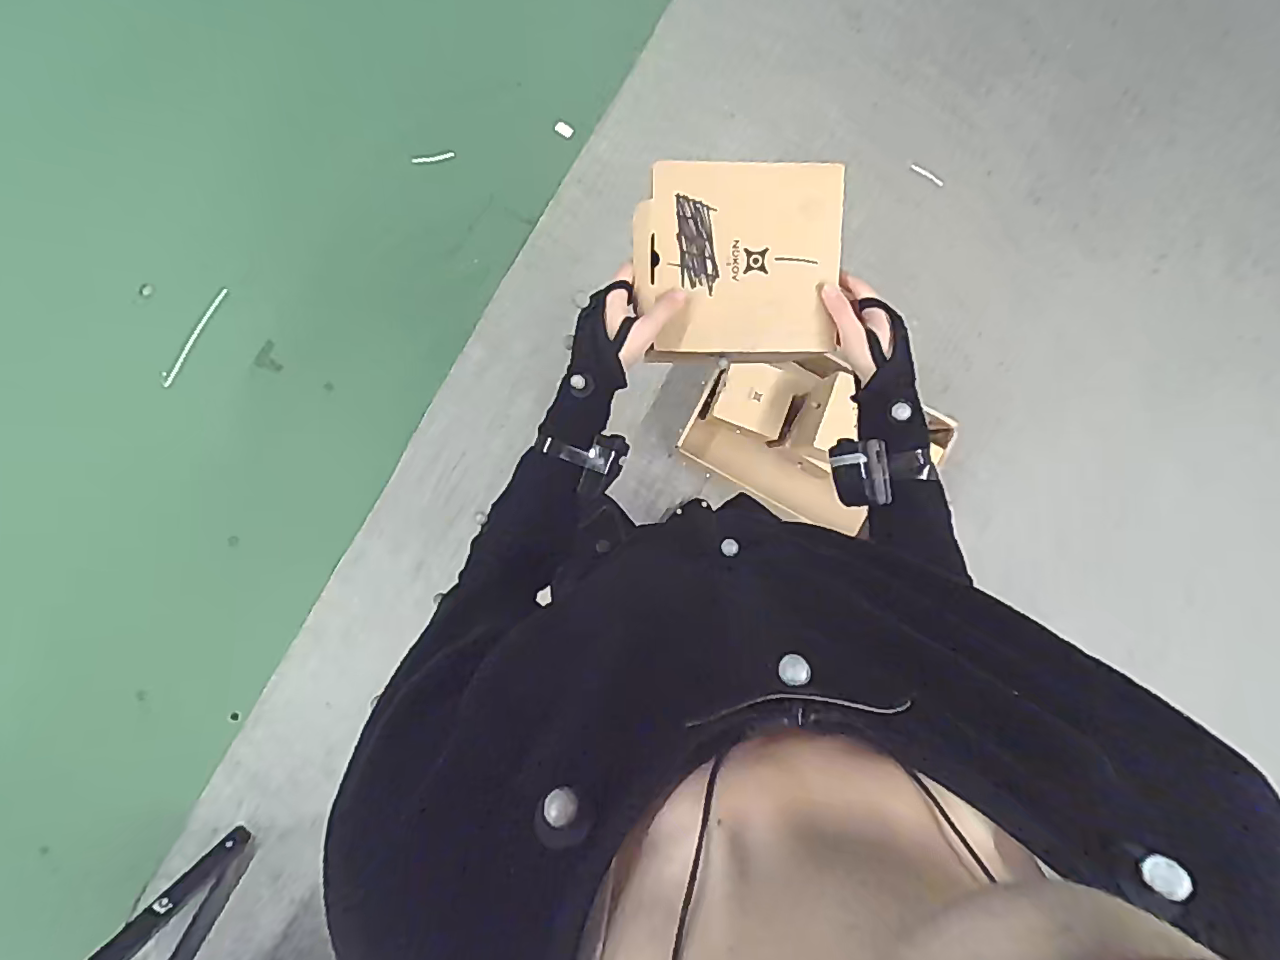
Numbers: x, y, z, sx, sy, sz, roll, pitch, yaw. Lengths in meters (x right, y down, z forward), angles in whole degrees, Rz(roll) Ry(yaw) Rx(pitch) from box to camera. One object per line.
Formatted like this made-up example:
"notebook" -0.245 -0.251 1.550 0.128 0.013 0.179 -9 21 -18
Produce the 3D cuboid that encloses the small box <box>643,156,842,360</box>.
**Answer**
"small box" 0.092 -0.216 0.569 0.179 0.176 0.168 -1 99 -2

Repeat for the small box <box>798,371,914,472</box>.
"small box" 0.481 -0.126 1.233 0.168 0.176 0.179 20 90 0
